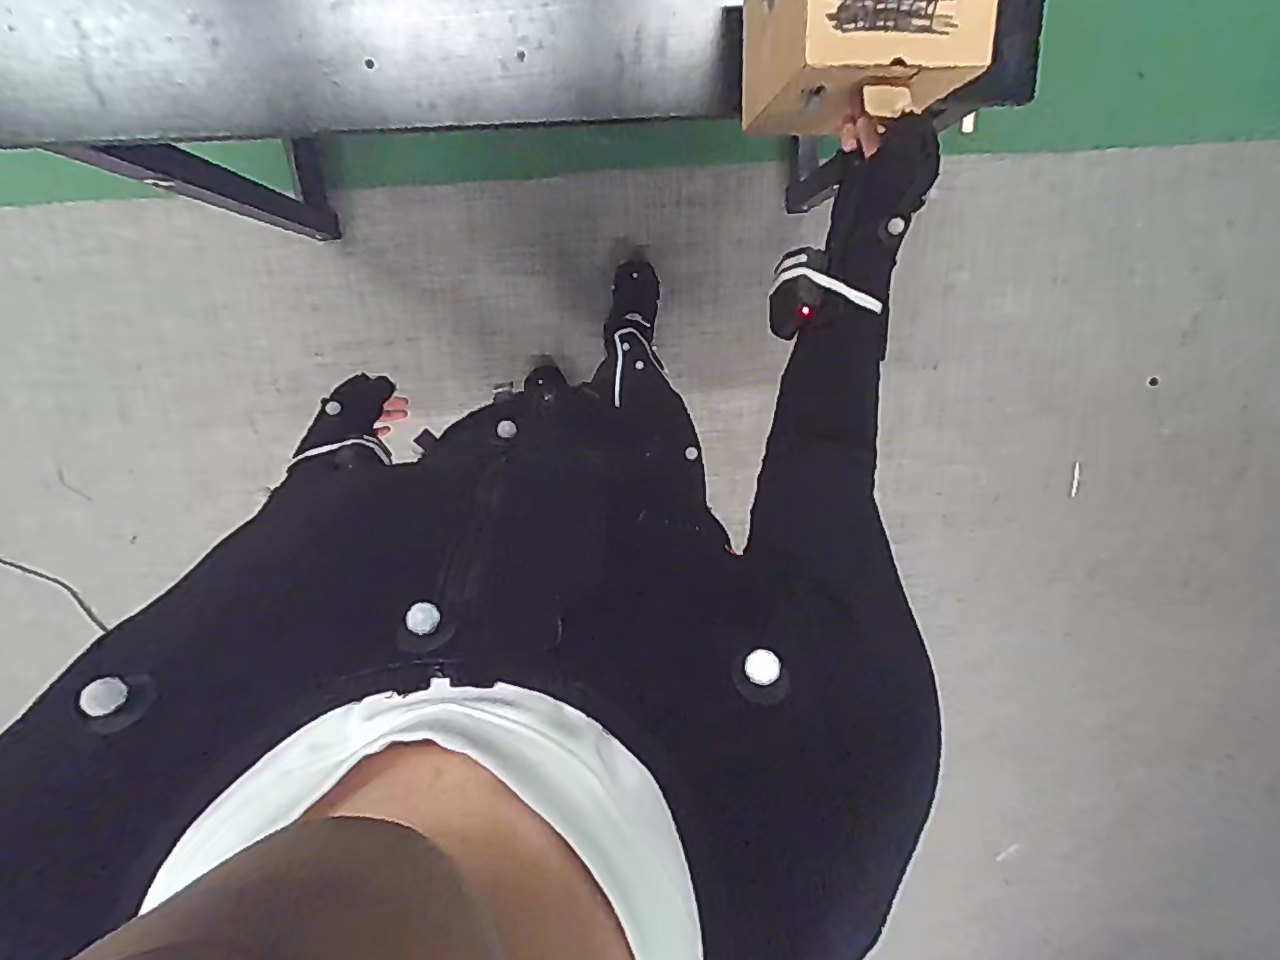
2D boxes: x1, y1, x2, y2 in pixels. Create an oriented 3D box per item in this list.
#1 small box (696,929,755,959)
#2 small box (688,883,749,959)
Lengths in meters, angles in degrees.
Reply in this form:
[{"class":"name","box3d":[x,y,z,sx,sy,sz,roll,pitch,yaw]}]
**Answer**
[{"class":"small box","box3d":[0.270,1.547,1.688,0.168,0.176,0.179,-1,106,-5]},{"class":"small box","box3d":[0.260,1.514,1.832,0.168,0.176,0.179,1,105,-5]}]
